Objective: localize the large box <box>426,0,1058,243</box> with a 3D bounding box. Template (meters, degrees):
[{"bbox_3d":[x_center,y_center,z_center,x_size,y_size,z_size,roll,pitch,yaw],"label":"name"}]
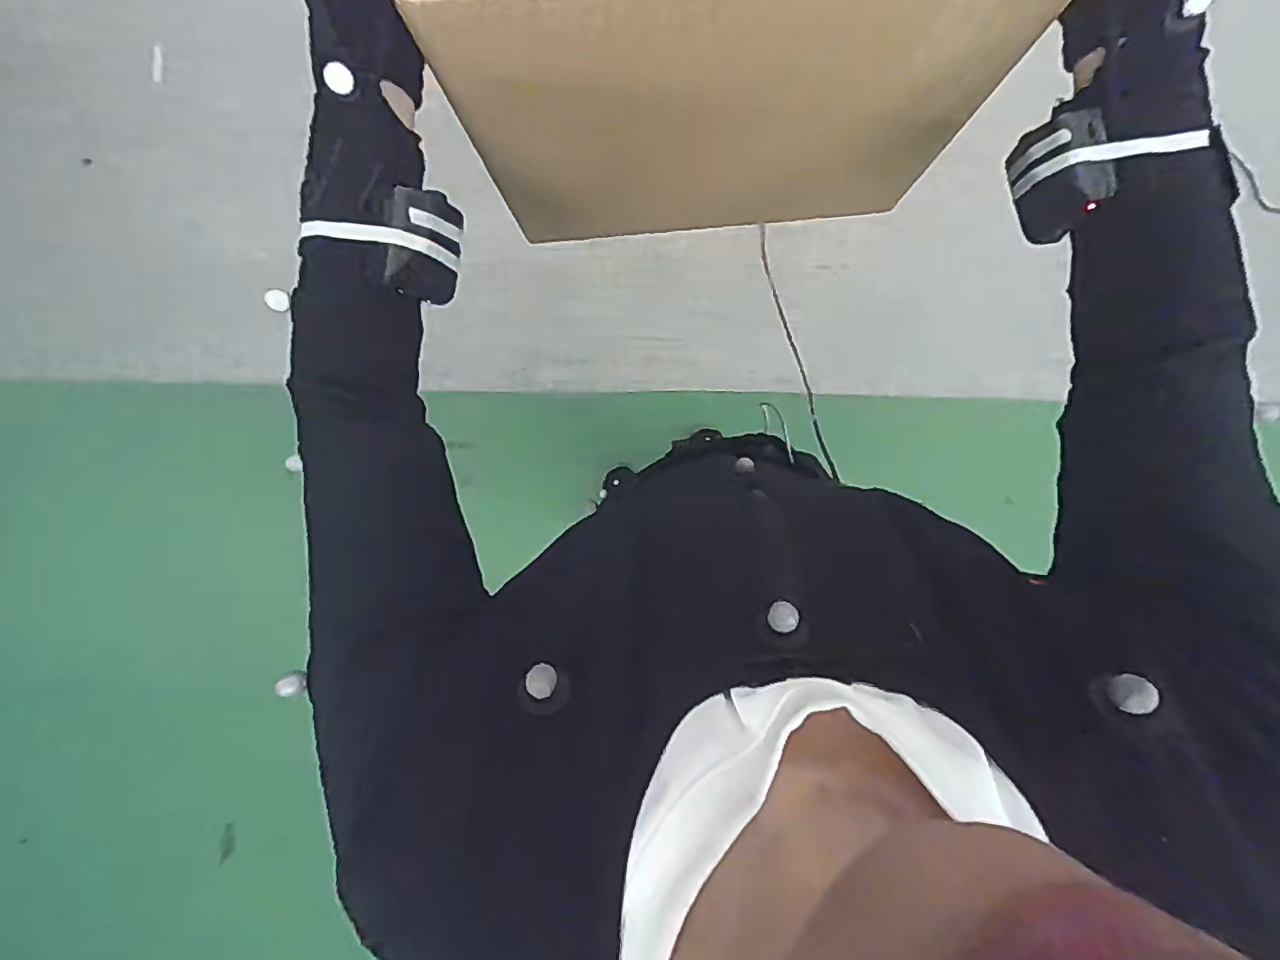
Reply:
[{"bbox_3d":[0.062,-0.433,0.455,0.408,0.320,0.320,-4,90,1],"label":"large box"}]
